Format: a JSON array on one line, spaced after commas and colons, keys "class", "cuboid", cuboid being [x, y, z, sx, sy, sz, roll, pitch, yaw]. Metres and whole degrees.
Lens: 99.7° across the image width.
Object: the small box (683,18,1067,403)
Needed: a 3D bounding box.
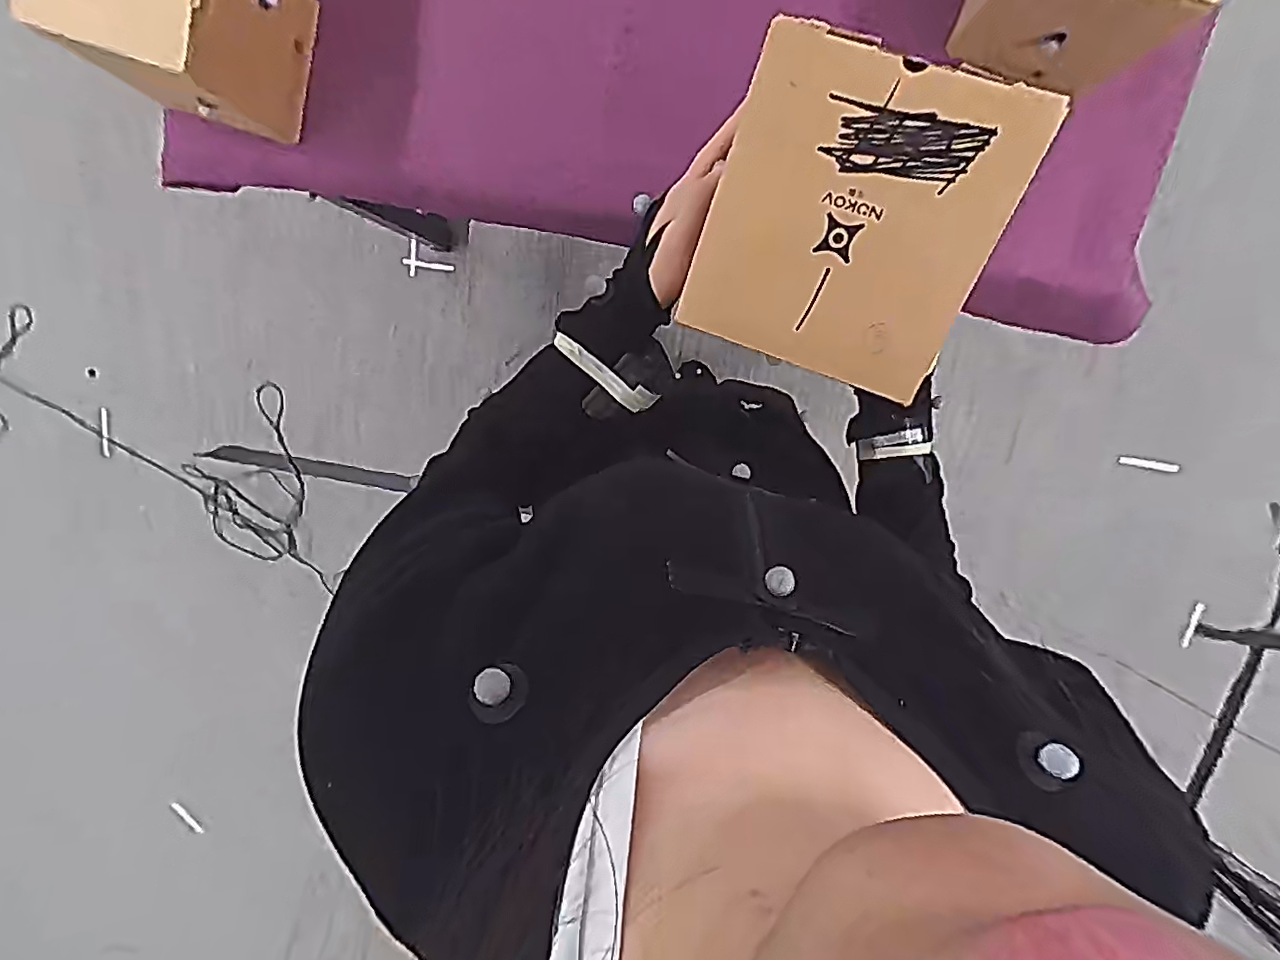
[{"class": "small box", "cuboid": [0.146, -0.180, 0.401, 0.168, 0.176, 0.179, 22, 112, 6]}]
